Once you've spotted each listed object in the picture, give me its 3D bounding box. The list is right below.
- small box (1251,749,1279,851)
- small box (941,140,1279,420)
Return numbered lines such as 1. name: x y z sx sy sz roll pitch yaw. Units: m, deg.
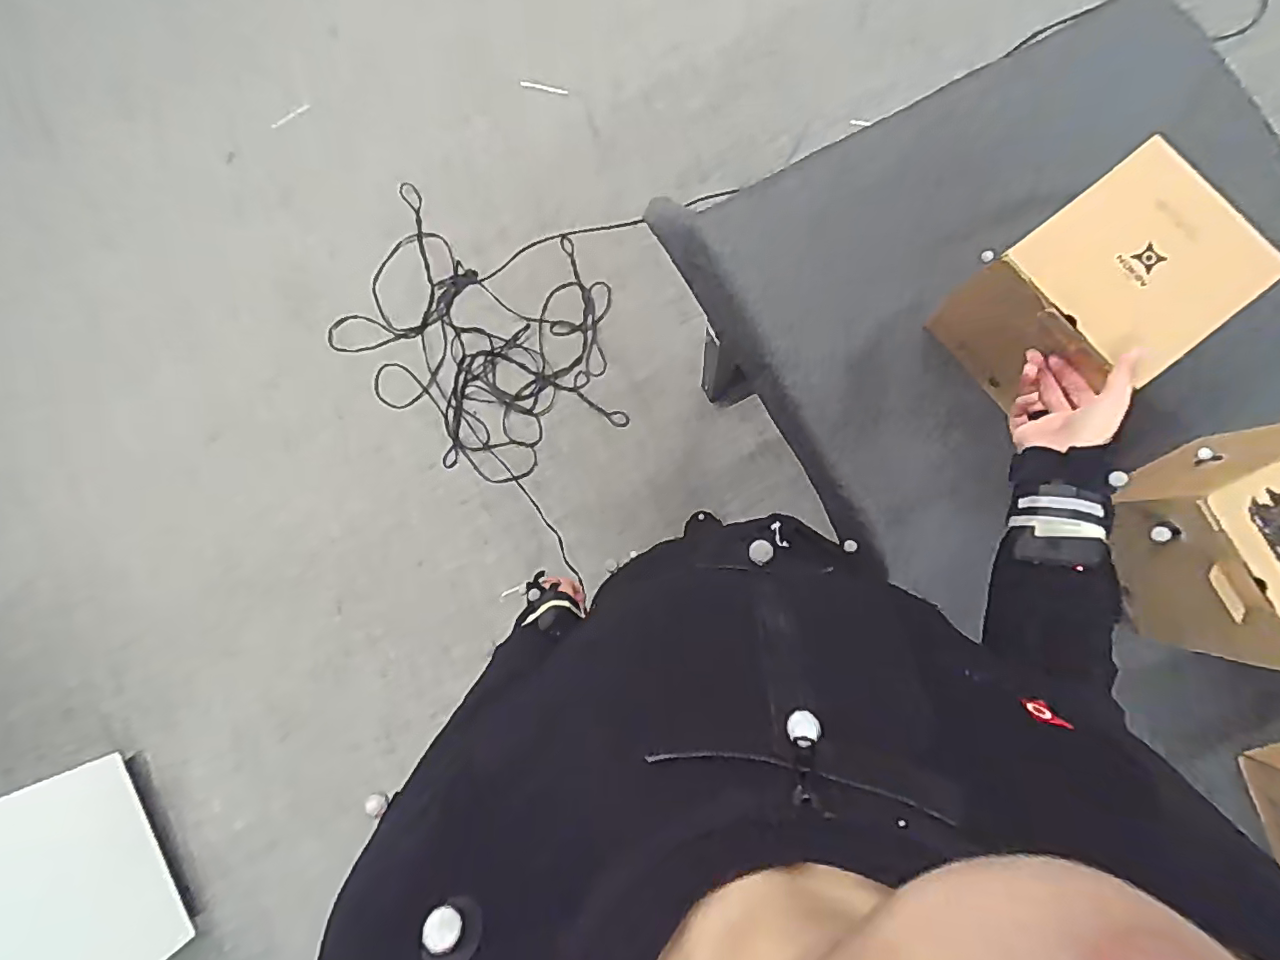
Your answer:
1. small box: 0.739 0.340 0.481 0.179 0.176 0.168 -16 84 4
2. small box: 0.449 -0.184 0.556 0.179 0.176 0.168 -39 84 -1
